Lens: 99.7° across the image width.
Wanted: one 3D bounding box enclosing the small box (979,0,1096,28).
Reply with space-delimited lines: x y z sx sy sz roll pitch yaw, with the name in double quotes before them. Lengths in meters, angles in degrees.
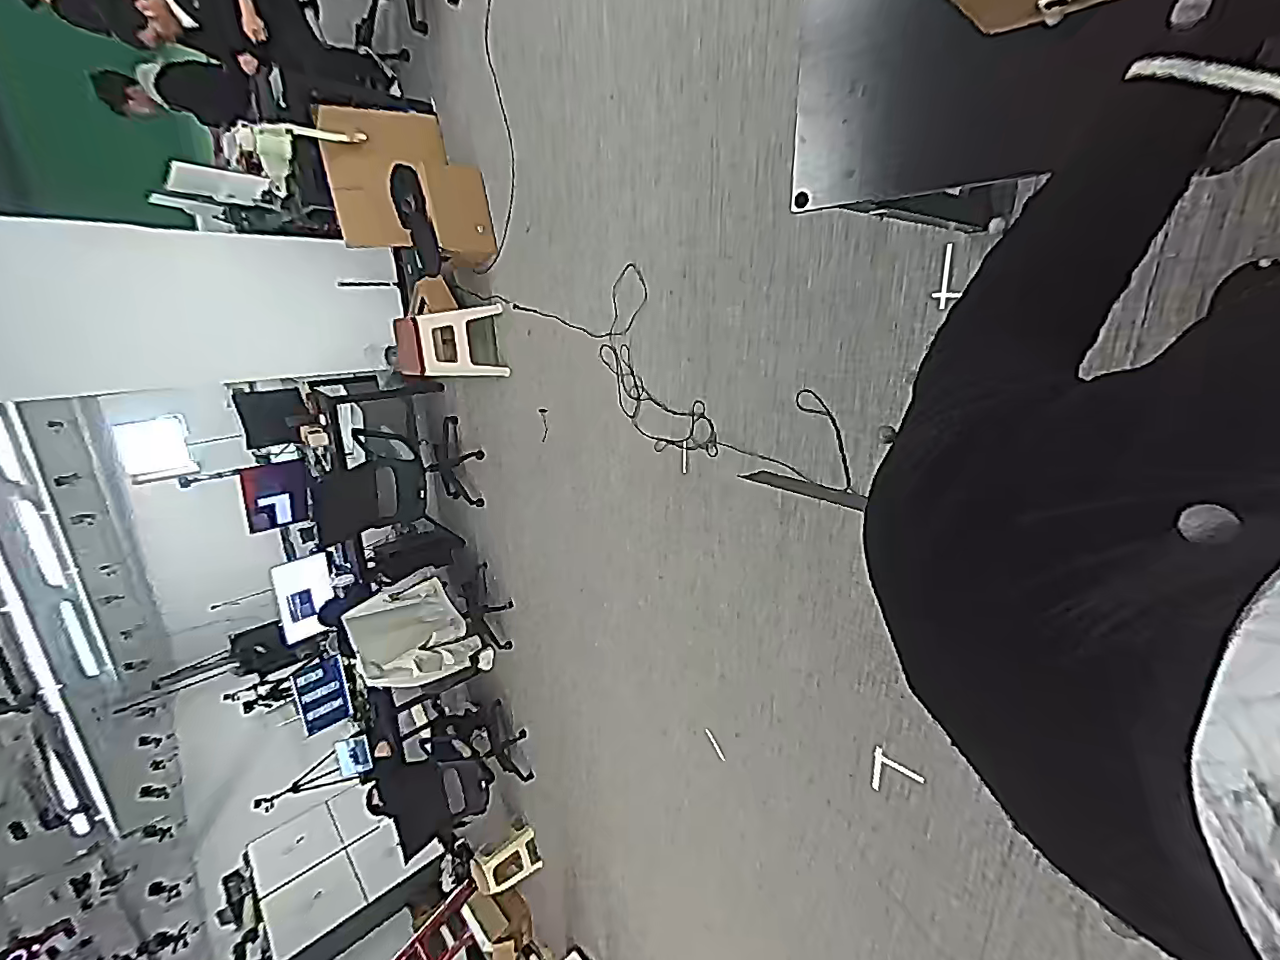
"small box" 0.394 -0.551 0.475 0.168 0.176 0.179 18 117 46
